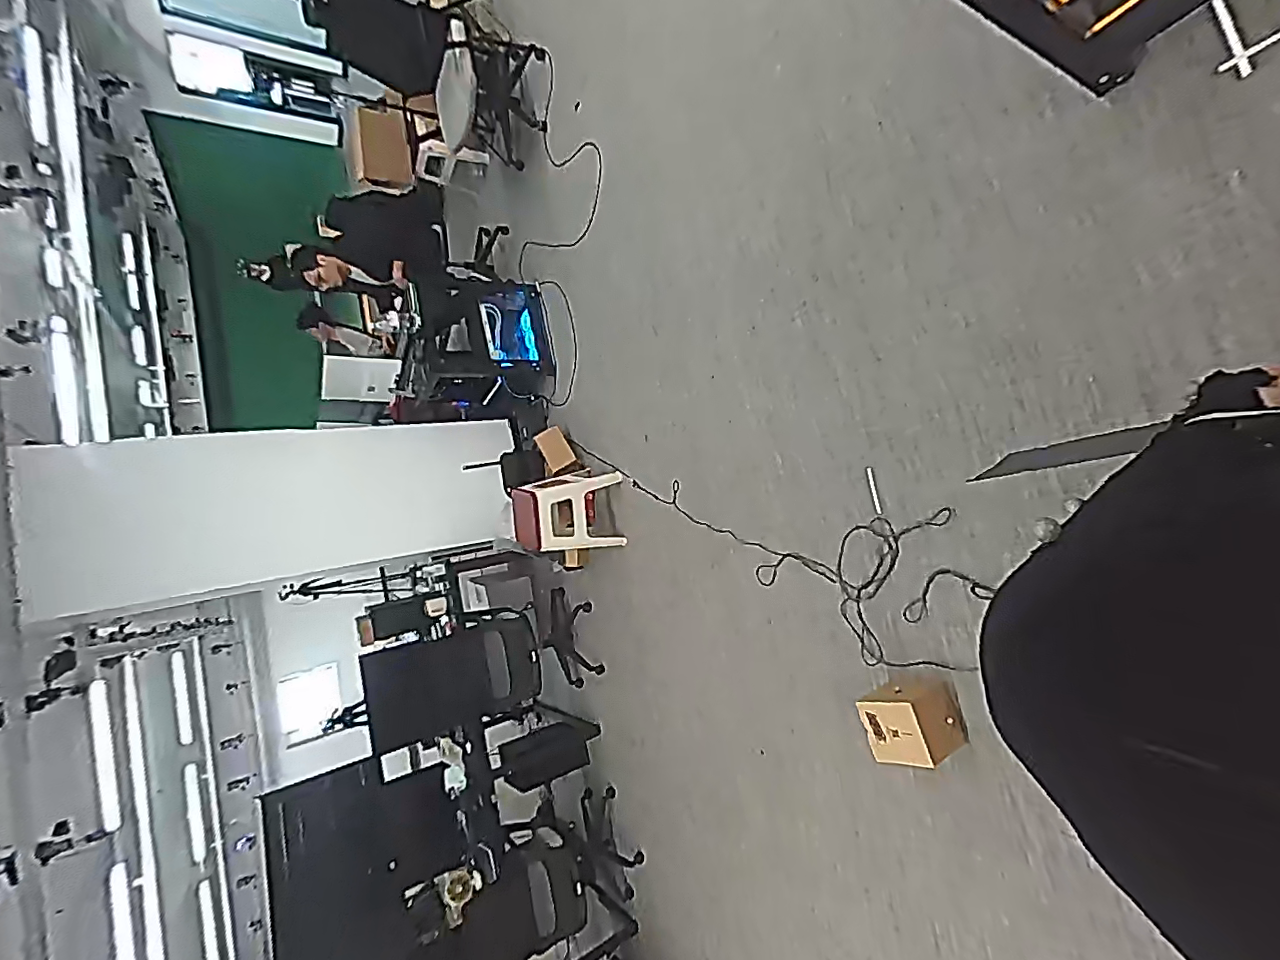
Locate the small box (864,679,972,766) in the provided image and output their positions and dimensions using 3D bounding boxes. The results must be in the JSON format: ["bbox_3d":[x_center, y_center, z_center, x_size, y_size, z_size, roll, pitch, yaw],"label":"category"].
[{"bbox_3d":[0.756,0.652,1.475,0.179,0.176,0.168,-32,71,55],"label":"small box"}]
